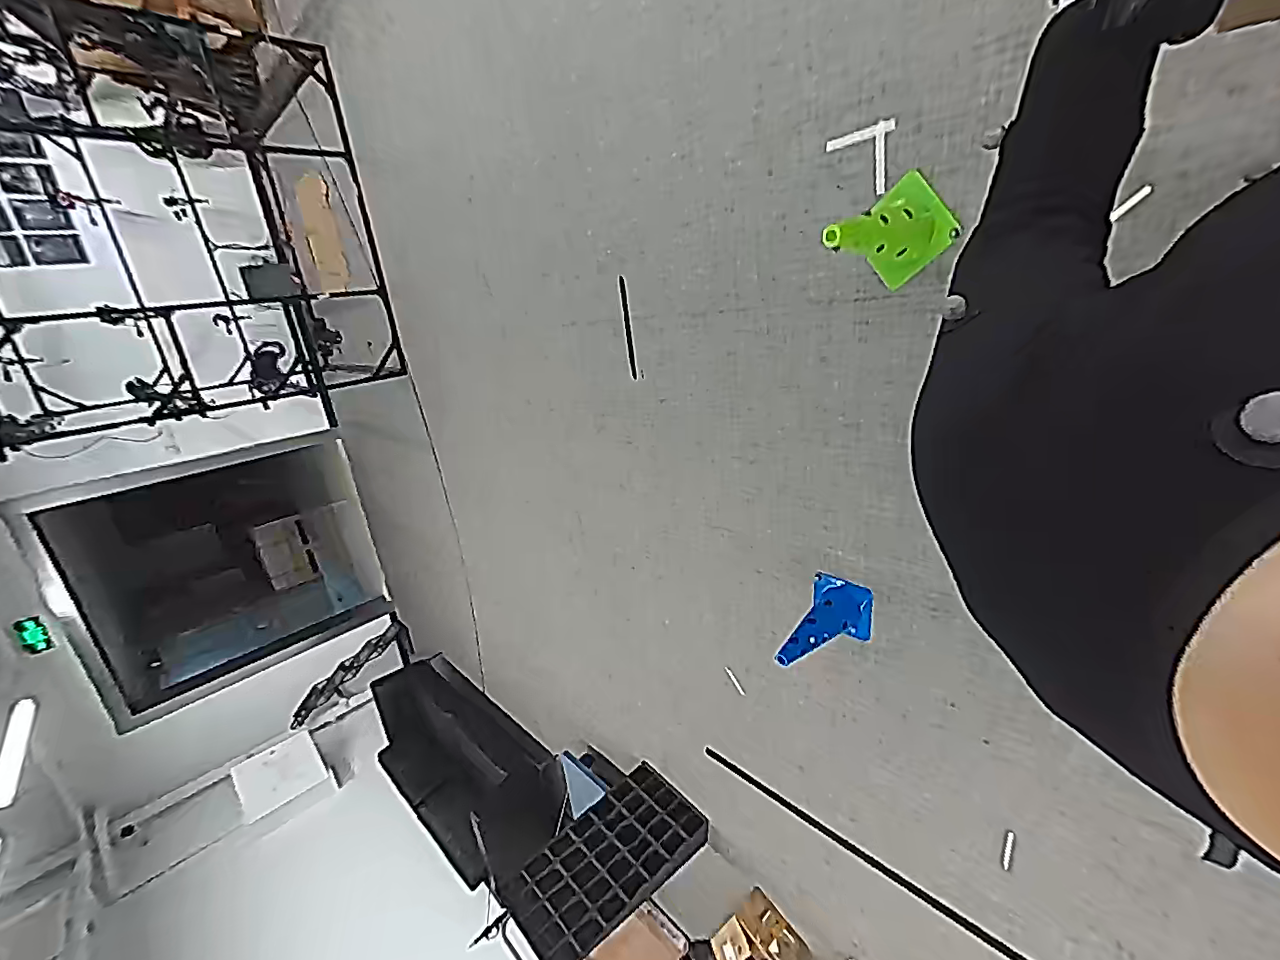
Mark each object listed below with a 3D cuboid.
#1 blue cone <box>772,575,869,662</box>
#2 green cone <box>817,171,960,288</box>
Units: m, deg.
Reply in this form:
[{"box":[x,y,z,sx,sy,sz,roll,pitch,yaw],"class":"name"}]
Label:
[{"box":[0.547,0.469,1.698,0.192,0.380,0.193,19,121,45],"class":"blue cone"},{"box":[0.515,-0.554,1.215,0.200,0.368,0.202,60,143,11],"class":"green cone"}]
